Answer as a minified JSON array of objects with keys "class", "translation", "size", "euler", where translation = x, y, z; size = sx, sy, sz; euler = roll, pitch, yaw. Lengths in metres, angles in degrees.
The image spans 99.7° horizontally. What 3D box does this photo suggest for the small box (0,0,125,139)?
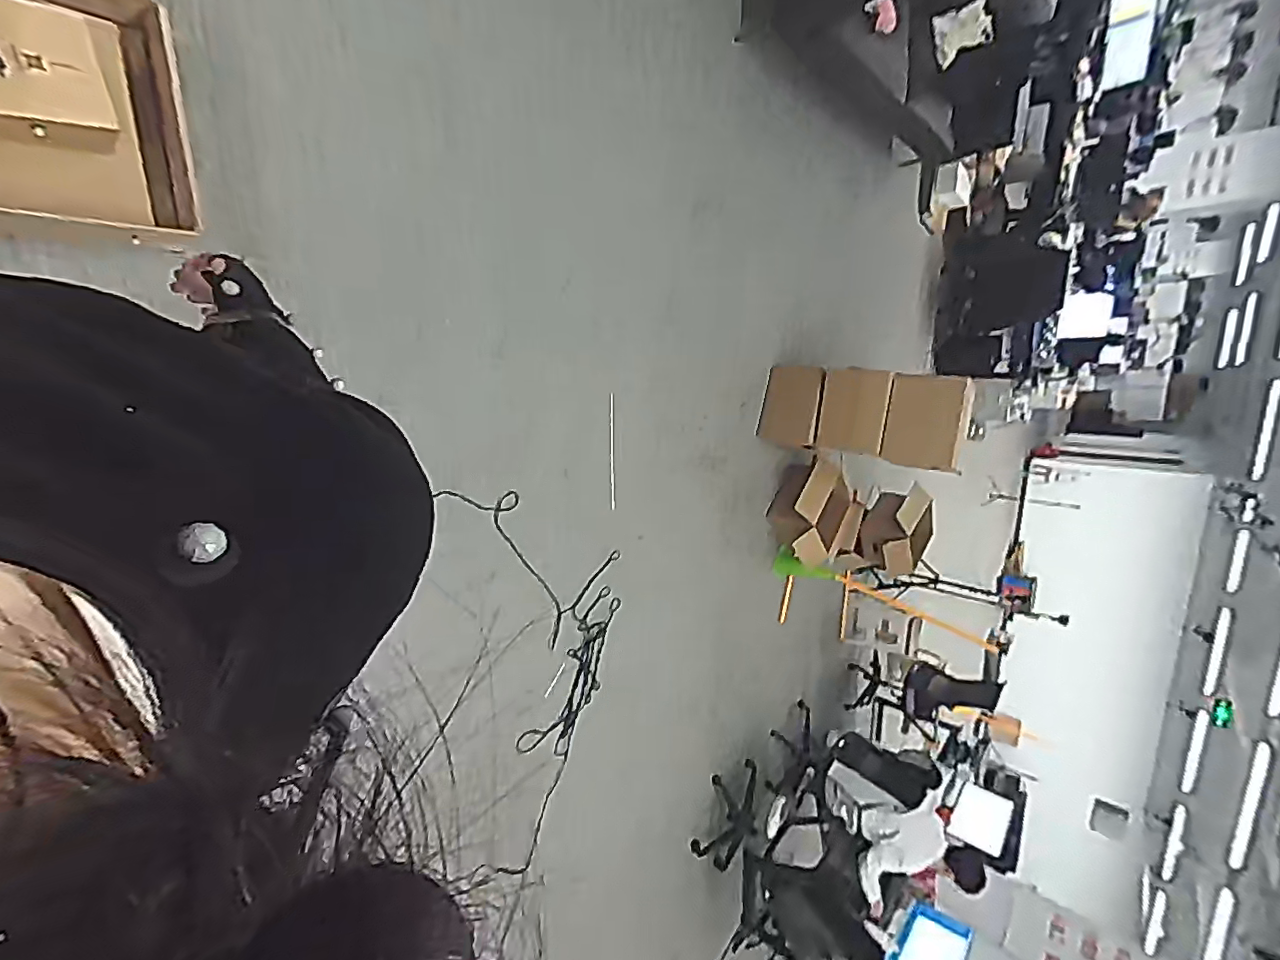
[{"class":"small box","translation":[-0.992,-0.682,0.888],"size":[0.179,0.176,0.168],"euler":[-21,115,-42]}]
